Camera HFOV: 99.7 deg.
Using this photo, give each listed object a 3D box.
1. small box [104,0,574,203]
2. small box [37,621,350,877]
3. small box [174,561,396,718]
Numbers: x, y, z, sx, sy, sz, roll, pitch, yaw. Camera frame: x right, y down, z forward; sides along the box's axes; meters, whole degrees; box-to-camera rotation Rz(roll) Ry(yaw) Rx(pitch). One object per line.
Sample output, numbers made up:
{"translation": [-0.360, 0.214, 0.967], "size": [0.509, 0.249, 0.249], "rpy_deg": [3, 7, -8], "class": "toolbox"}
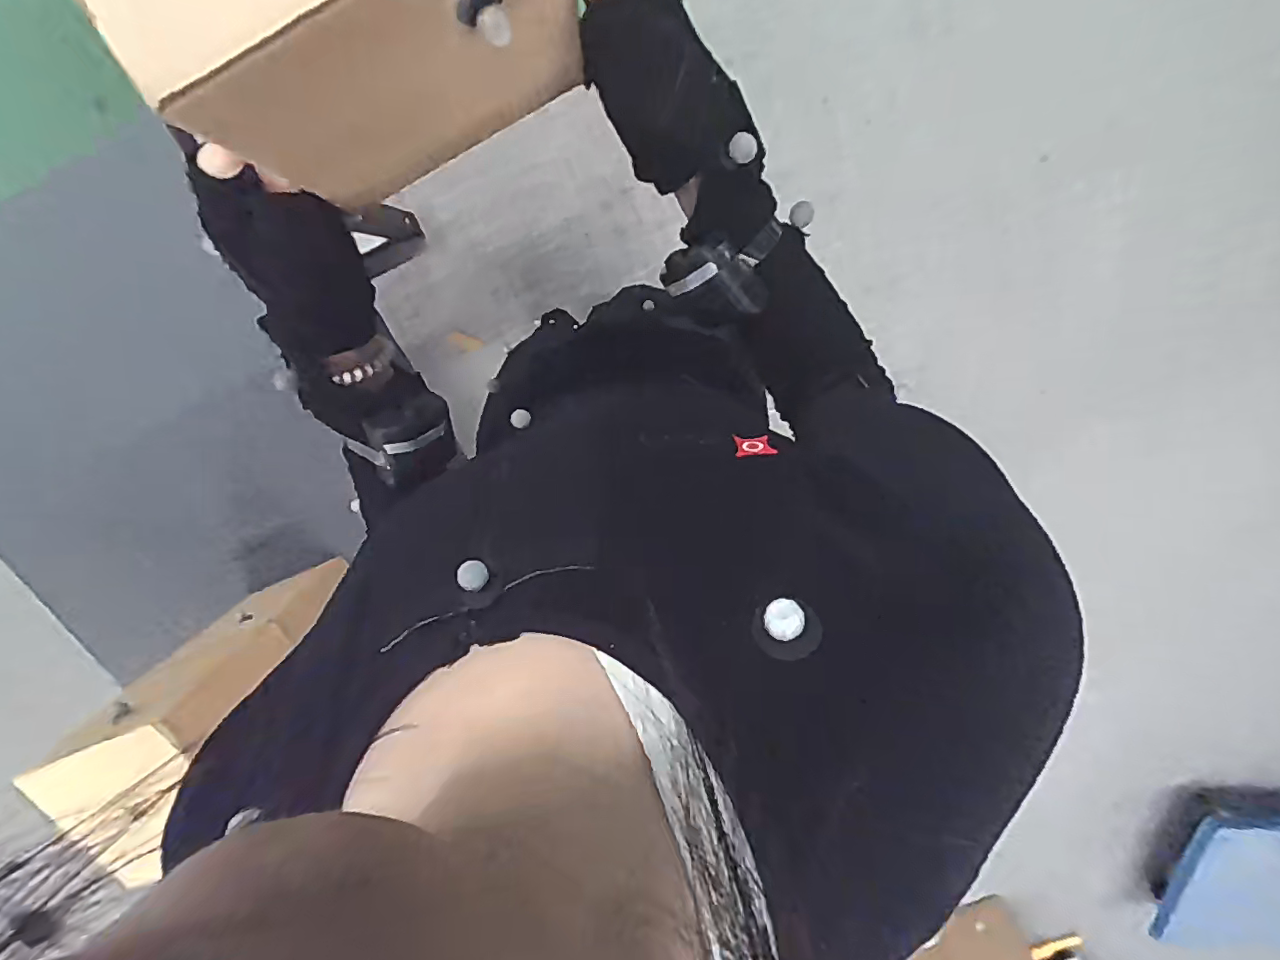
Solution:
{"translation": [-0.142, -0.268, 0.260], "size": [0.179, 0.176, 0.168], "rpy_deg": [-27, 104, 4], "class": "small box"}
{"translation": [-0.481, 0.294, 0.615], "size": [0.179, 0.176, 0.168], "rpy_deg": [-23, 107, 8], "class": "small box"}
{"translation": [-0.479, 0.241, 0.768], "size": [0.179, 0.176, 0.168], "rpy_deg": [-23, 107, 10], "class": "small box"}
